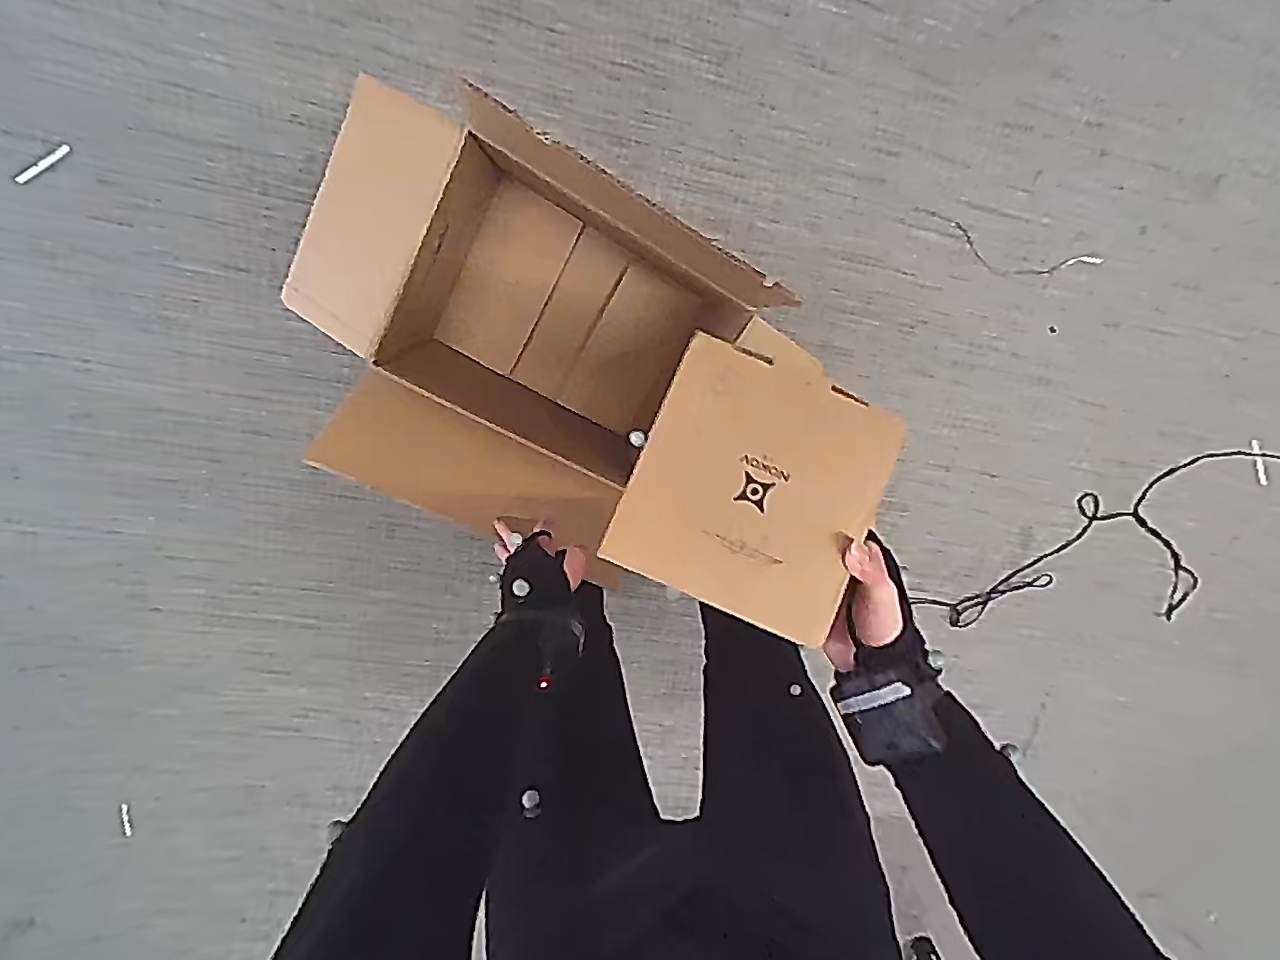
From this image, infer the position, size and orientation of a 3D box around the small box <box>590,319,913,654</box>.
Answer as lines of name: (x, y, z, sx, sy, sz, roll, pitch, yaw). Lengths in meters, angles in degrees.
small box: (0.075, 0.009, 0.436, 0.168, 0.176, 0.179, 25, 85, 4)
